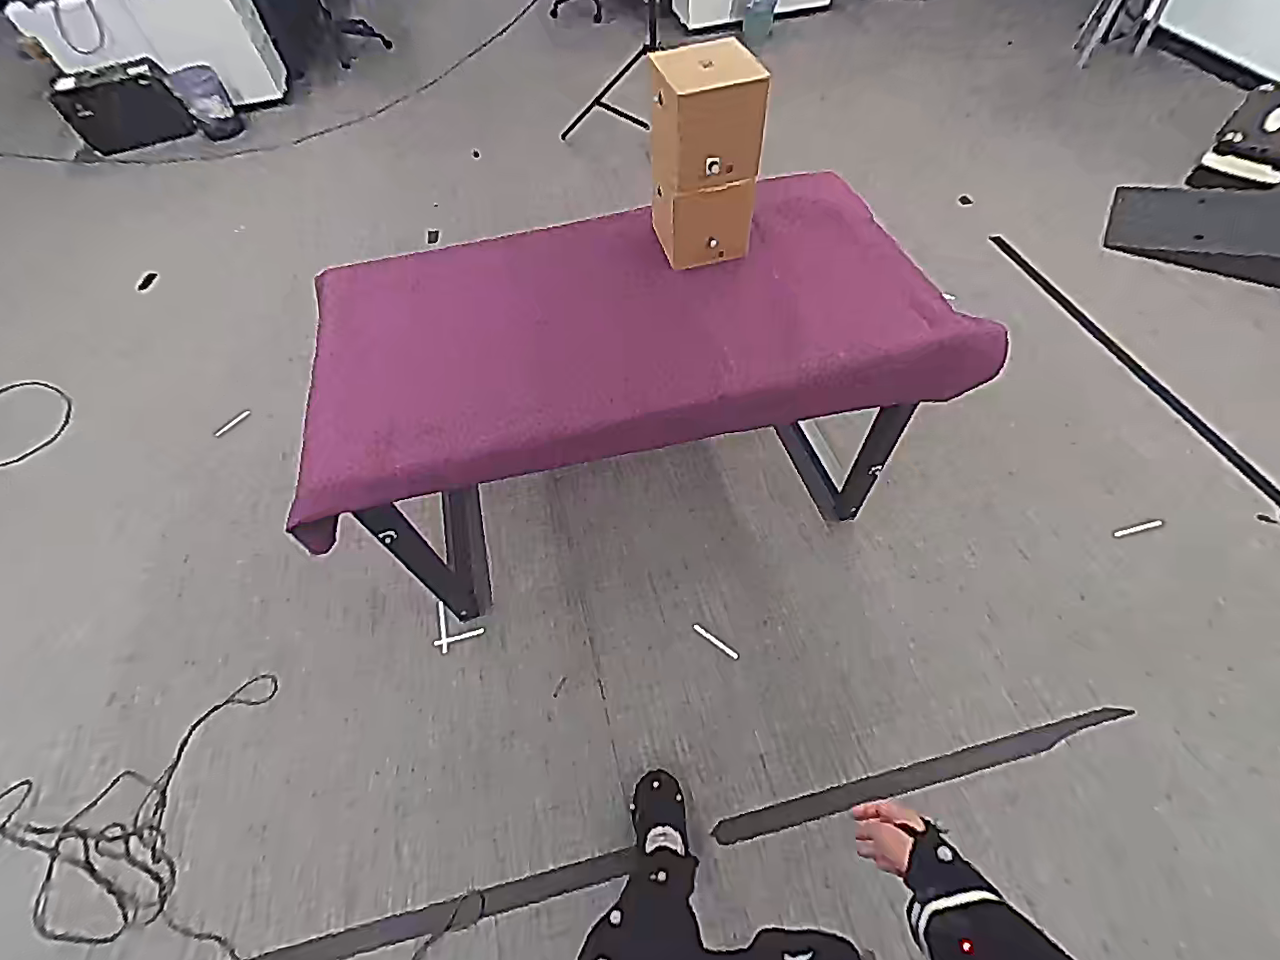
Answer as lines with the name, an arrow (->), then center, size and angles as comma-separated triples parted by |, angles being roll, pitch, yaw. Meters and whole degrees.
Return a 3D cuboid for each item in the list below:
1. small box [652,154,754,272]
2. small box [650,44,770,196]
small box -> 0.124, -0.569, 1.133 | 0.168, 0.176, 0.179 | -14, 58, -5
small box -> 0.120, -0.662, 1.000 | 0.168, 0.176, 0.179 | -16, 59, -6
